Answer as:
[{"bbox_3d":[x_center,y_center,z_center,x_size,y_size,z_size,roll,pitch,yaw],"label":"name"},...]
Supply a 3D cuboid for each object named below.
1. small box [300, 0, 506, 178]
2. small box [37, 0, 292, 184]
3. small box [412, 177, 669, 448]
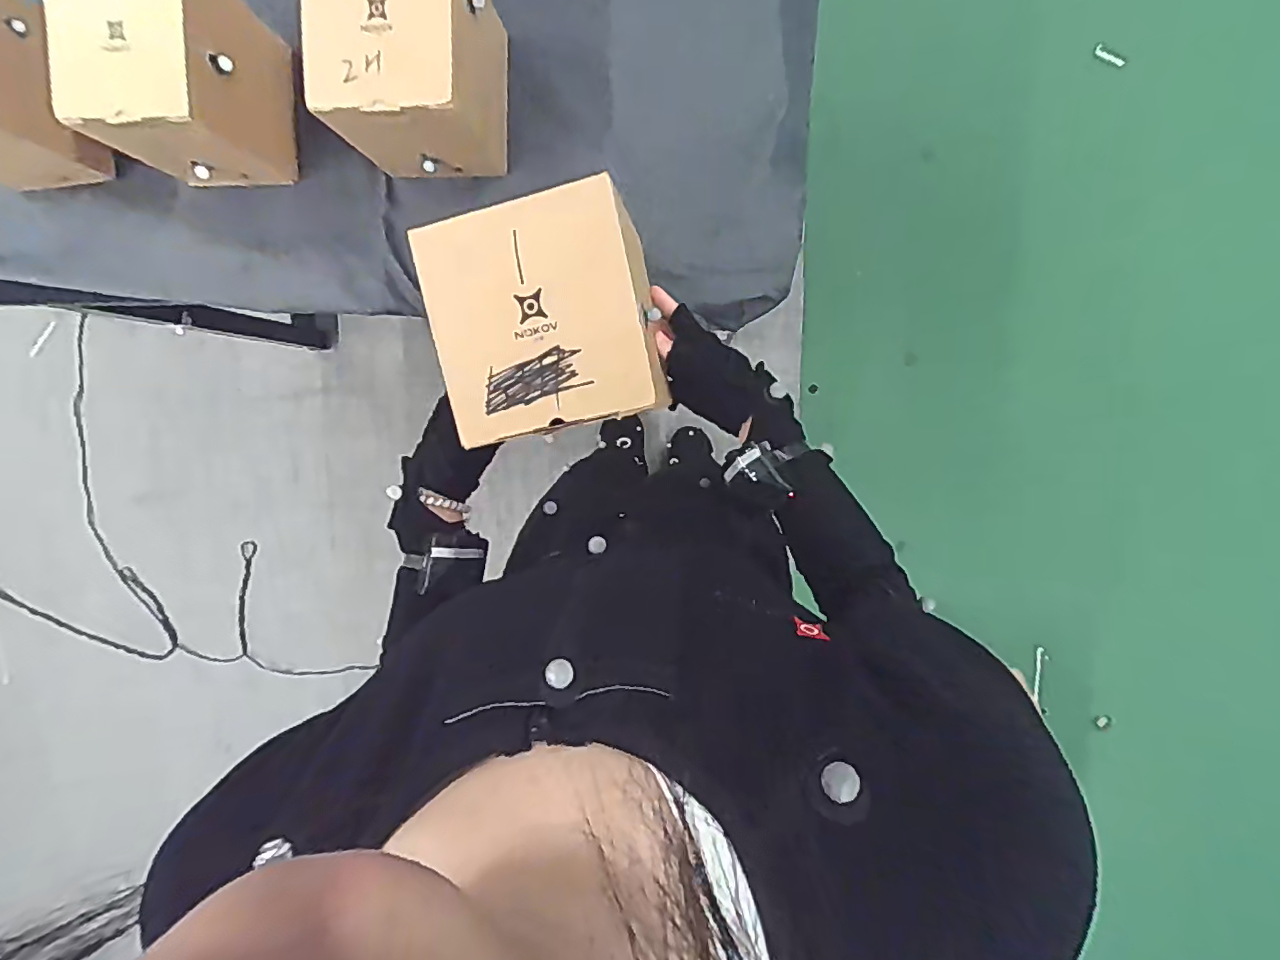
[{"bbox_3d":[-0.264,-0.484,0.635,0.168,0.176,0.179,2,97,5],"label":"small box"},{"bbox_3d":[-0.561,-0.490,0.660,0.168,0.176,0.179,2,98,4],"label":"small box"},{"bbox_3d":[-0.072,-0.137,0.496,0.168,0.176,0.179,-11,97,8],"label":"small box"}]
